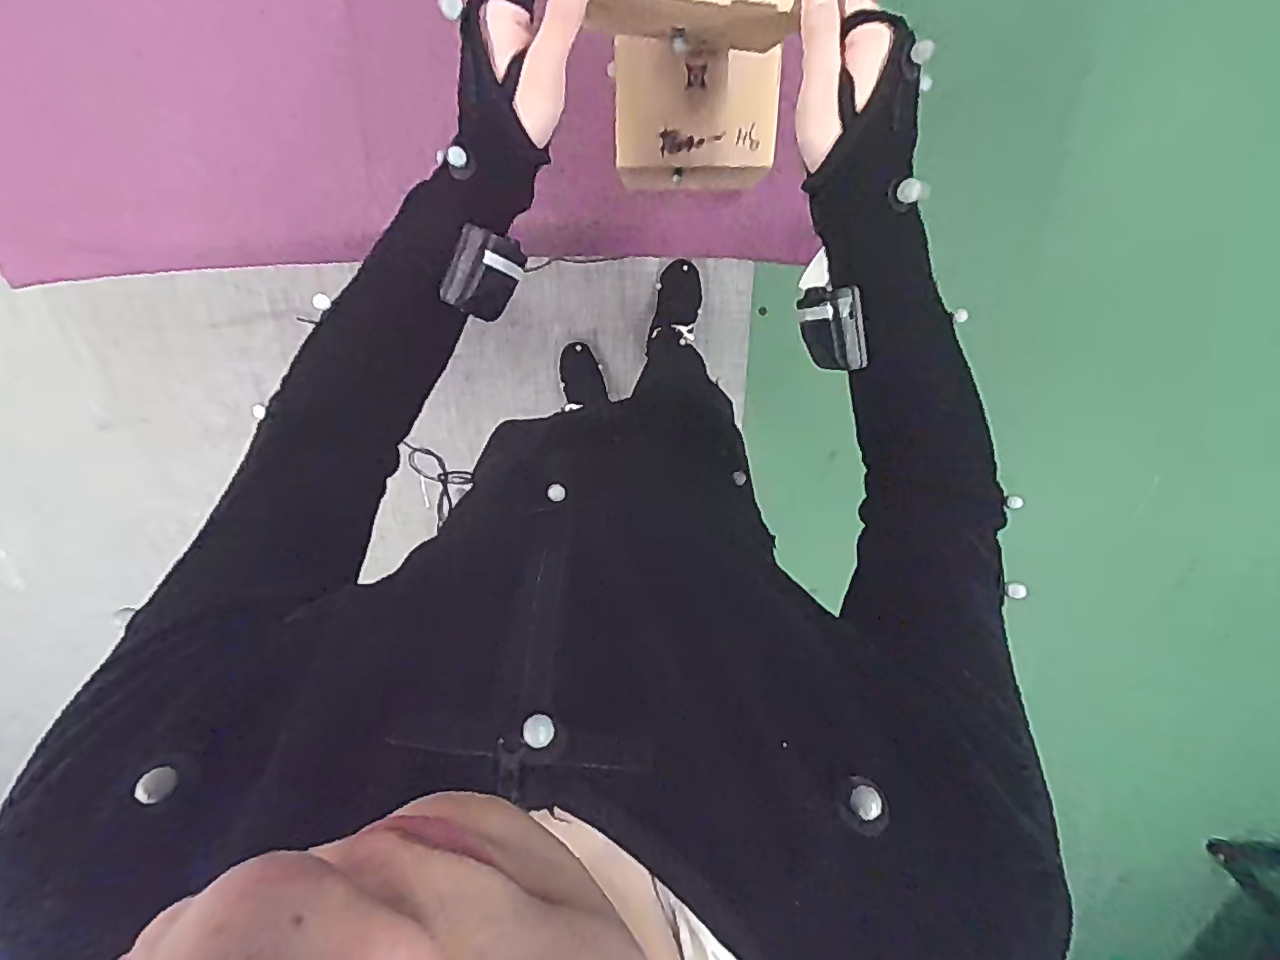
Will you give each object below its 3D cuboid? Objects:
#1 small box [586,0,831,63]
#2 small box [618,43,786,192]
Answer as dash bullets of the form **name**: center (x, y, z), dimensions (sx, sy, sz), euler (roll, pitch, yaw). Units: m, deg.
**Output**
- **small box**: center (0.046, -0.414, 0.367), dimensions (0.168, 0.176, 0.179), euler (5, 121, -4)
- **small box**: center (0.063, -0.435, 0.605), dimensions (0.168, 0.176, 0.179), euler (1, 111, 2)
